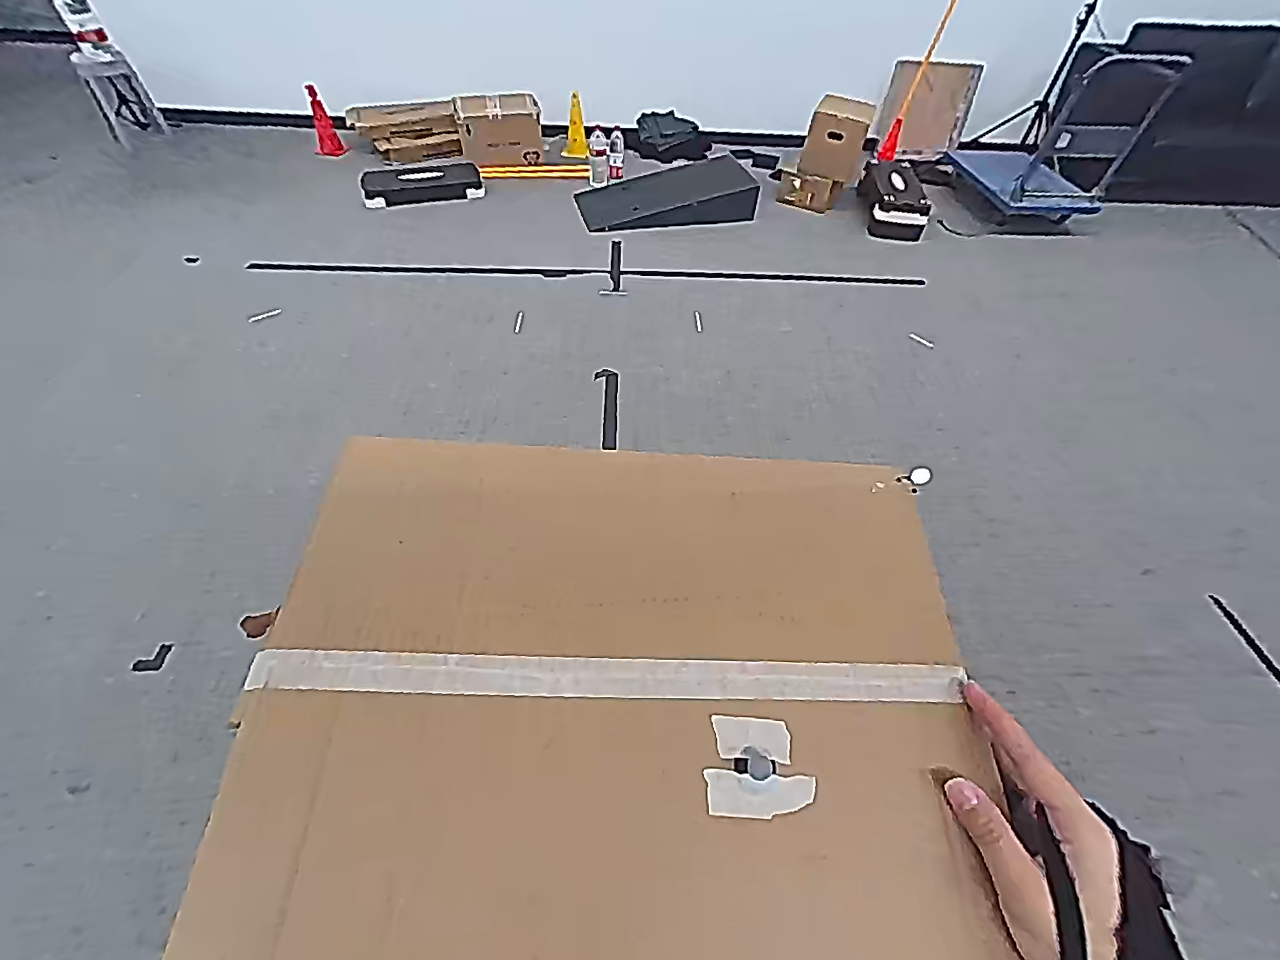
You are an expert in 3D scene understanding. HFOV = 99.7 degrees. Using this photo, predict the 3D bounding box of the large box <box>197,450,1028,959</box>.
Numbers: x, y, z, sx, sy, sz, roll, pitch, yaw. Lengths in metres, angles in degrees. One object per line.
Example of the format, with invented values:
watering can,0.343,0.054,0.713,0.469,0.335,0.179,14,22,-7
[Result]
large box,-0.018,0.194,0.450,0.408,0.320,0.320,3,60,-5
